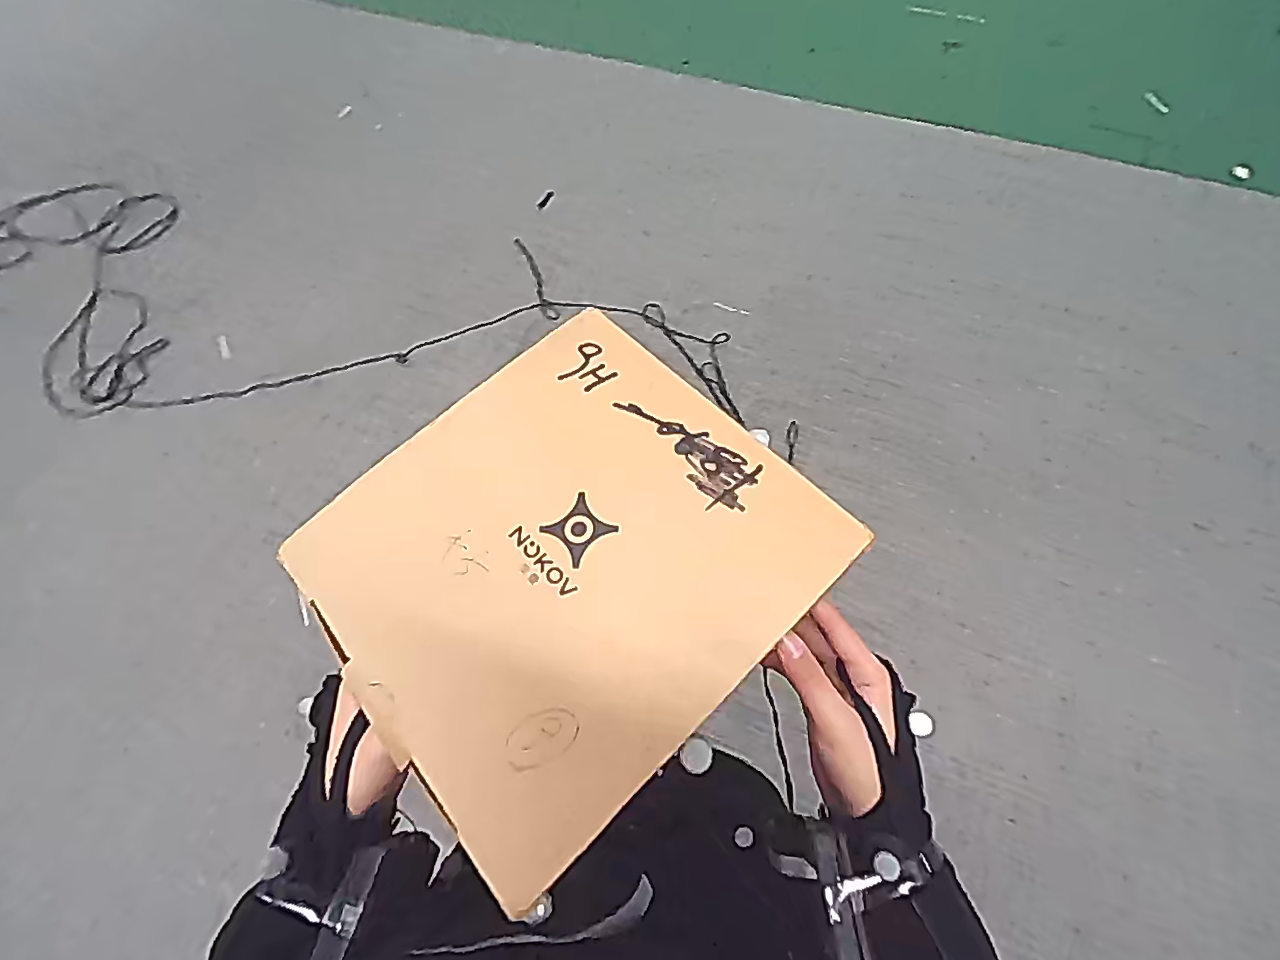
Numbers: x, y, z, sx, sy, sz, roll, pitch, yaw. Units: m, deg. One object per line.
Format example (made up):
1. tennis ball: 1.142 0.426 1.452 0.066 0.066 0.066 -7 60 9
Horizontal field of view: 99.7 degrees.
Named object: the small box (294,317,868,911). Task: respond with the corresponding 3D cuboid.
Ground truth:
1. small box: -0.020 0.061 0.284 0.179 0.176 0.168 -41 68 -12
